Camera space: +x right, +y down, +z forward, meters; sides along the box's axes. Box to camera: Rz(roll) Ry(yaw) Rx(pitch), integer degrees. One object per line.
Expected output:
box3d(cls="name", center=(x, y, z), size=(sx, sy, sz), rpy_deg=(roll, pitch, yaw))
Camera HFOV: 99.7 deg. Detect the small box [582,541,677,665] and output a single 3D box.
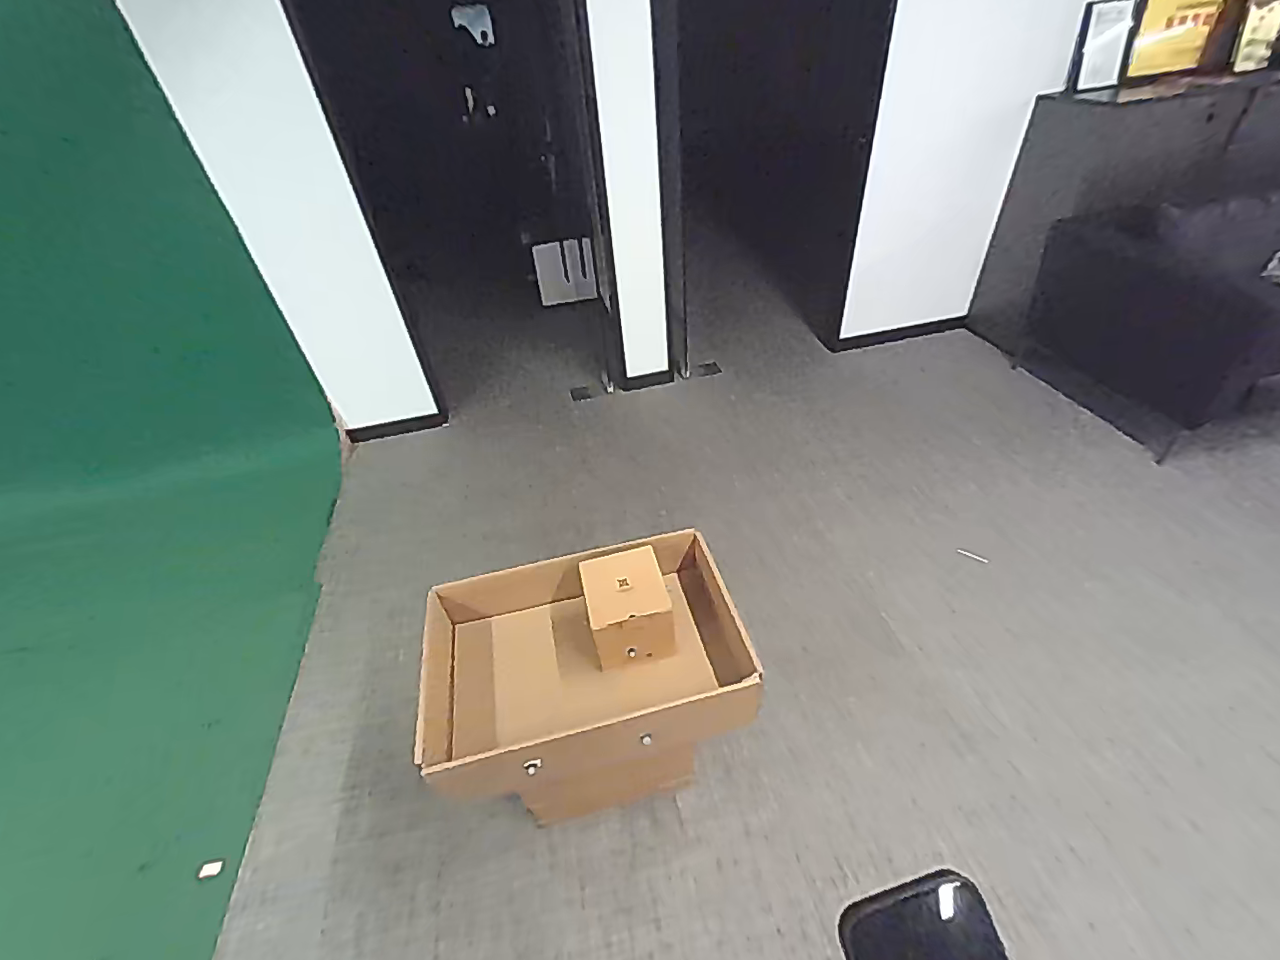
box3d(cls="small box", center=(-0.023, 0.265, 1.163), size=(0.168, 0.176, 0.179), rpy_deg=(-14, 43, -6))
